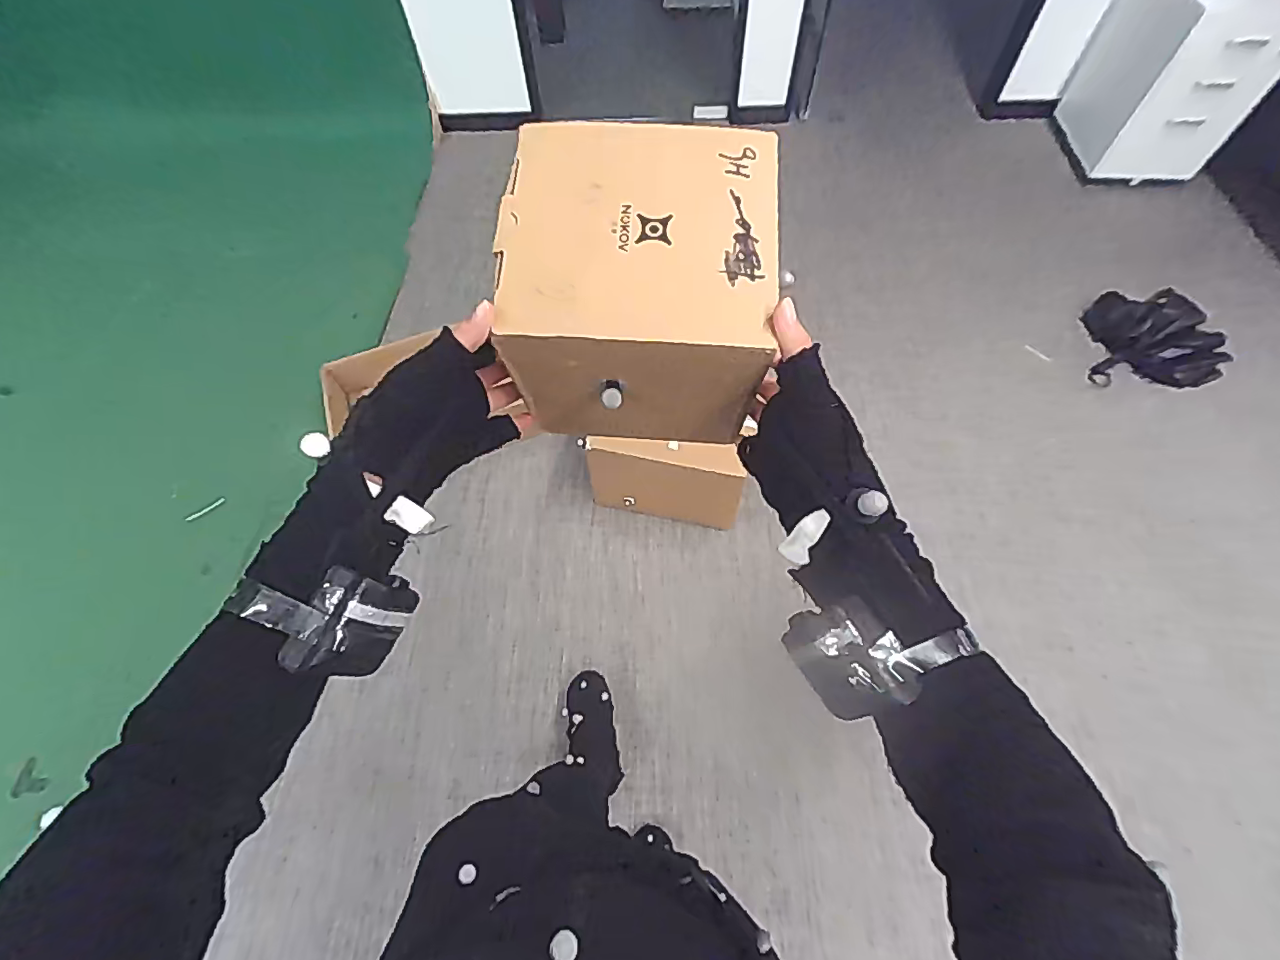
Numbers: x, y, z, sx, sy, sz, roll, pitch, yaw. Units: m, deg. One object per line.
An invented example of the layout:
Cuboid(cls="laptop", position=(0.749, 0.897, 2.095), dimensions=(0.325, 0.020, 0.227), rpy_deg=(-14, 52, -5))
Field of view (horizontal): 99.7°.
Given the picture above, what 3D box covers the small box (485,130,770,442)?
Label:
Cuboid(cls="small box", position=(-0.001, -0.135, 0.424), dimensions=(0.179, 0.176, 0.168), rpy_deg=(3, 74, 3))
